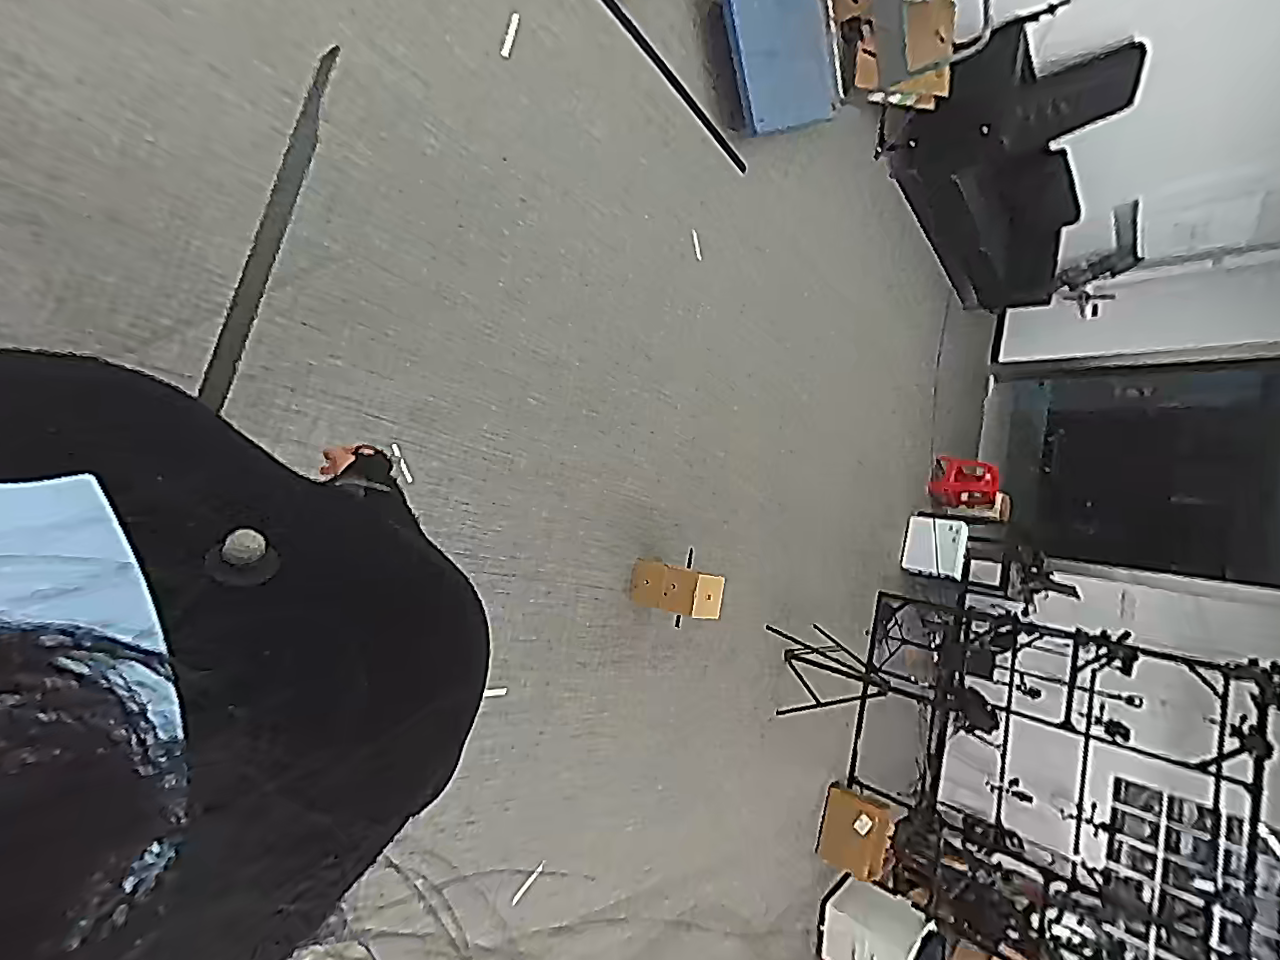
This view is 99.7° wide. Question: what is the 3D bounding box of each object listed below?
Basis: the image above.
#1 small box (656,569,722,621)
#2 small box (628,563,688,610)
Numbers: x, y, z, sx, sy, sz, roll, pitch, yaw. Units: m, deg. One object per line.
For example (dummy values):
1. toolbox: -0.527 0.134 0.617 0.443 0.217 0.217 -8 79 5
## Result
1. small box: 0.190 0.448 2.108 0.179 0.176 0.168 16 82 -45
2. small box: 0.072 0.437 2.220 0.179 0.176 0.168 15 84 -46
